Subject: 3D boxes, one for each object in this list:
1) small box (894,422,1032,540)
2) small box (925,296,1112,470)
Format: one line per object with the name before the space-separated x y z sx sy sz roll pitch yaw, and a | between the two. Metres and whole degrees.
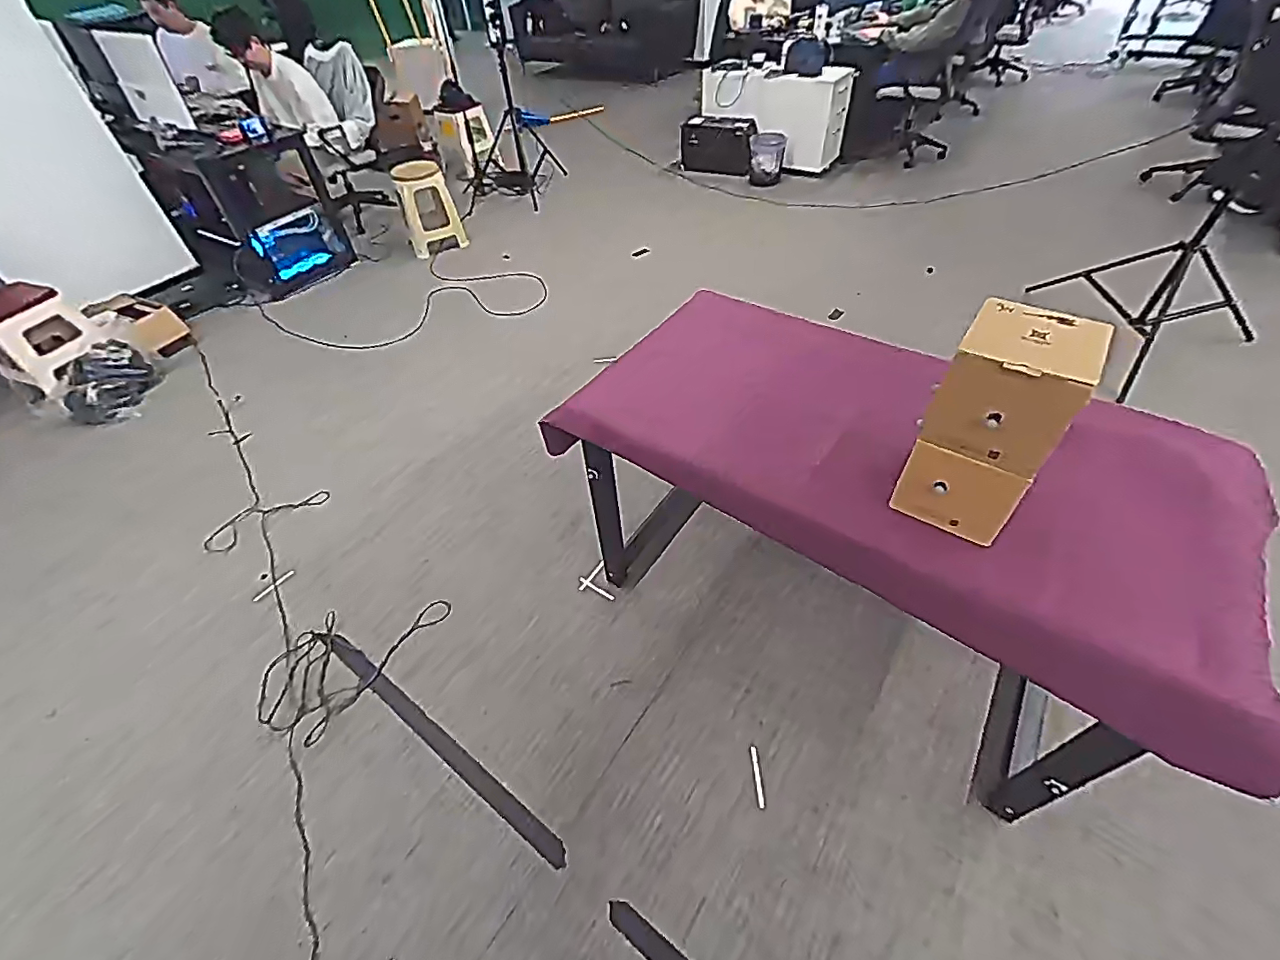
small box | 0.558 -0.029 0.926 0.168 0.176 0.179 26 53 26
small box | 0.553 -0.144 0.809 0.168 0.176 0.179 27 54 26
